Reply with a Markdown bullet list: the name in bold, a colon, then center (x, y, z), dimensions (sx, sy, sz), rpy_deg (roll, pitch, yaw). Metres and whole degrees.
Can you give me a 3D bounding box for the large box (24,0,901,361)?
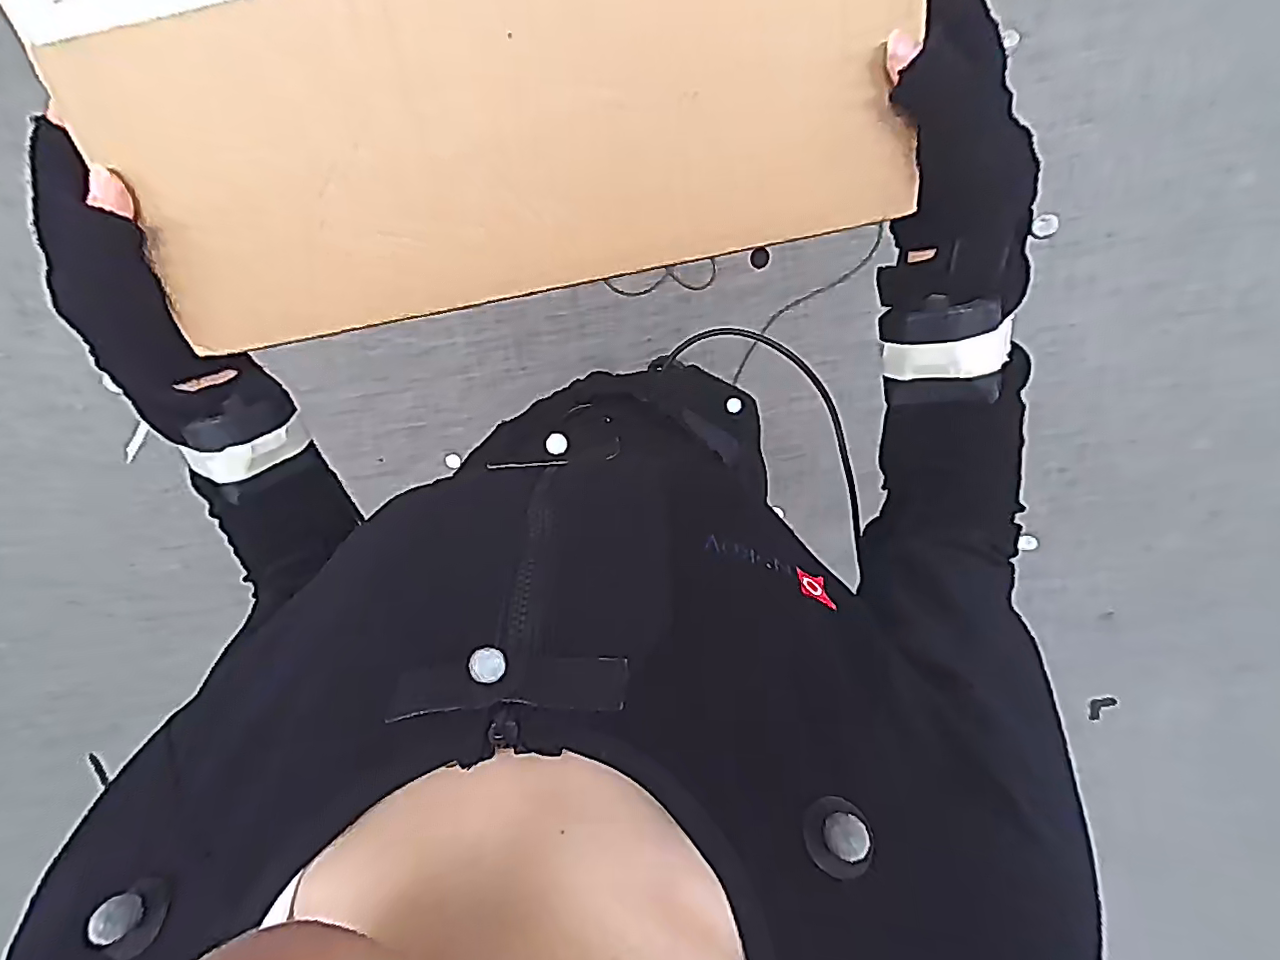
- **large box**: center (-0.084, -0.306, 0.375), dimensions (0.408, 0.320, 0.320), rpy_deg (-10, 115, 5)
